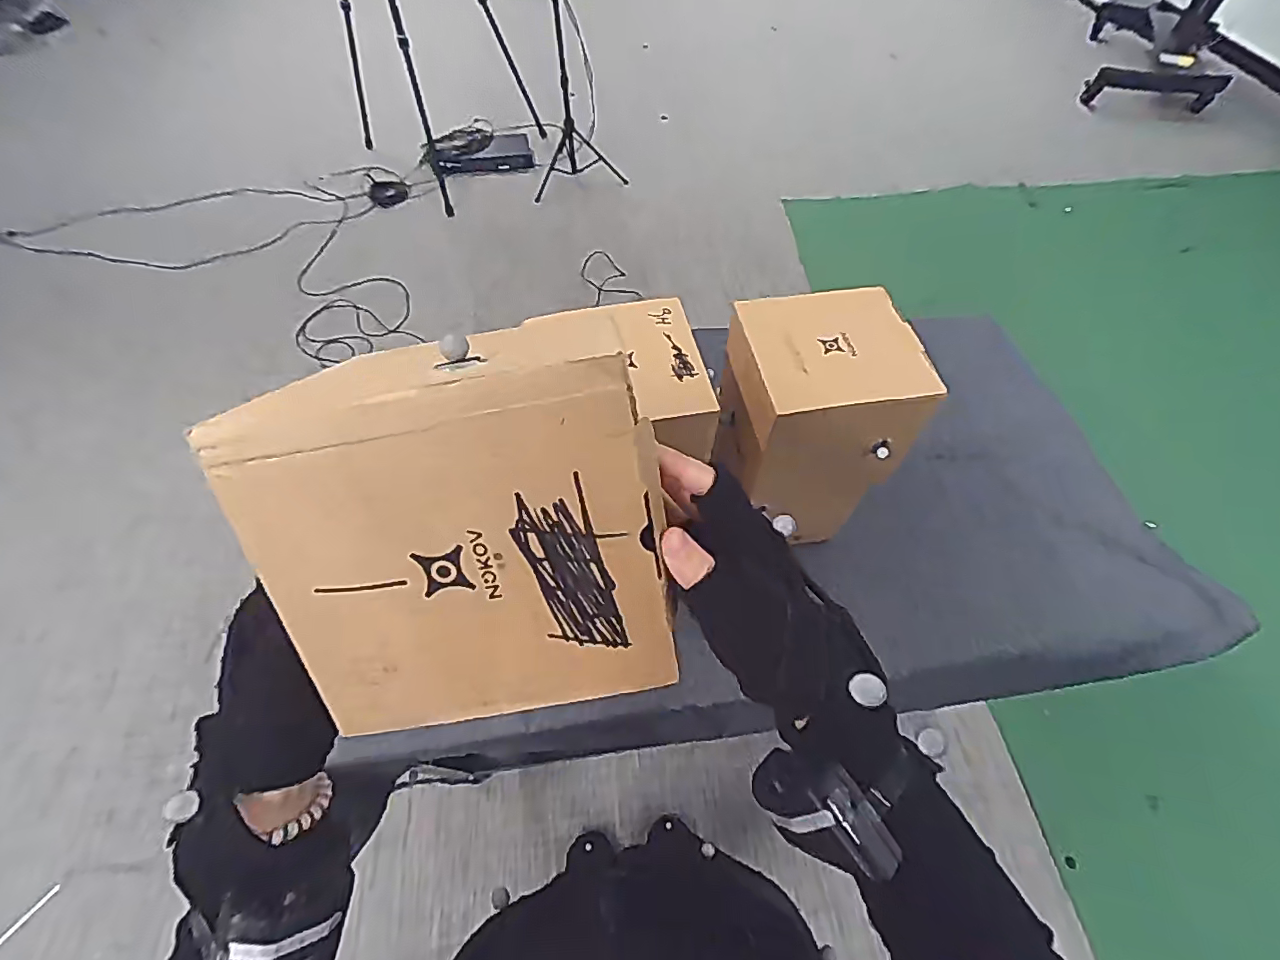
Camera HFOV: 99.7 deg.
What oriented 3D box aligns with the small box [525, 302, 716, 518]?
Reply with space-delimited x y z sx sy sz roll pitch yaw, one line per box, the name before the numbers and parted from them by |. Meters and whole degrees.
small box | -0.022 -0.073 0.622 0.179 0.176 0.168 -11 59 -5
